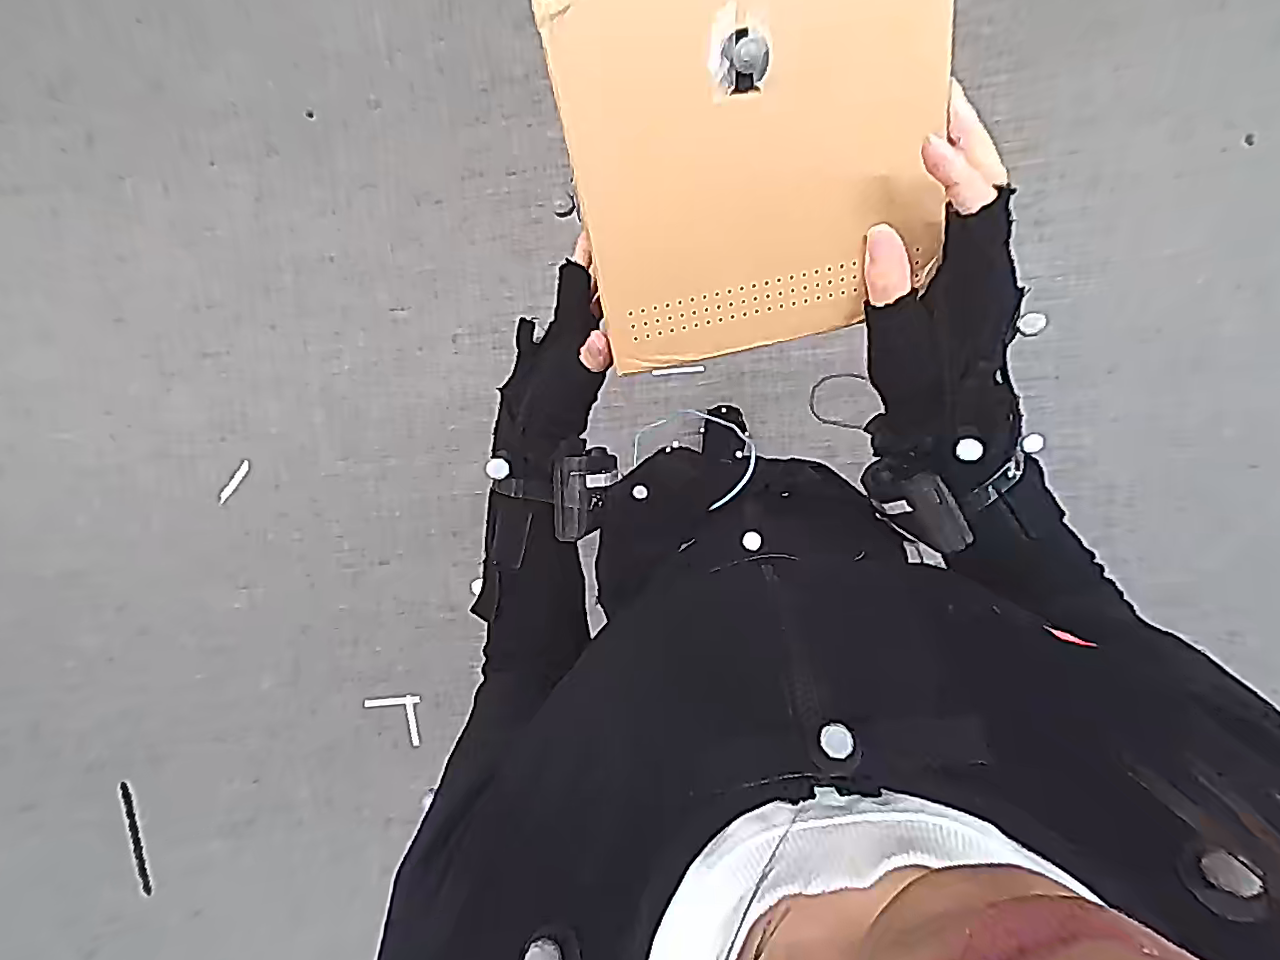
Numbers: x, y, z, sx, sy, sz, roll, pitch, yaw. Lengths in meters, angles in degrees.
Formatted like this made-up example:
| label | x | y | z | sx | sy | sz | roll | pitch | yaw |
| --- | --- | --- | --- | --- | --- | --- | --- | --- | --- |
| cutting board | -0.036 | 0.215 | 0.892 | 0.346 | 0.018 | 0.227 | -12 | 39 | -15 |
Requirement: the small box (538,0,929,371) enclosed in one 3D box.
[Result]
| label | x | y | z | sx | sy | sz | roll | pitch | yaw |
| --- | --- | --- | --- | --- | --- | --- | --- | --- | --- |
| small box | 0.054 | -0.175 | 0.327 | 0.179 | 0.168 | 0.176 | -12 | 116 | 2 |
